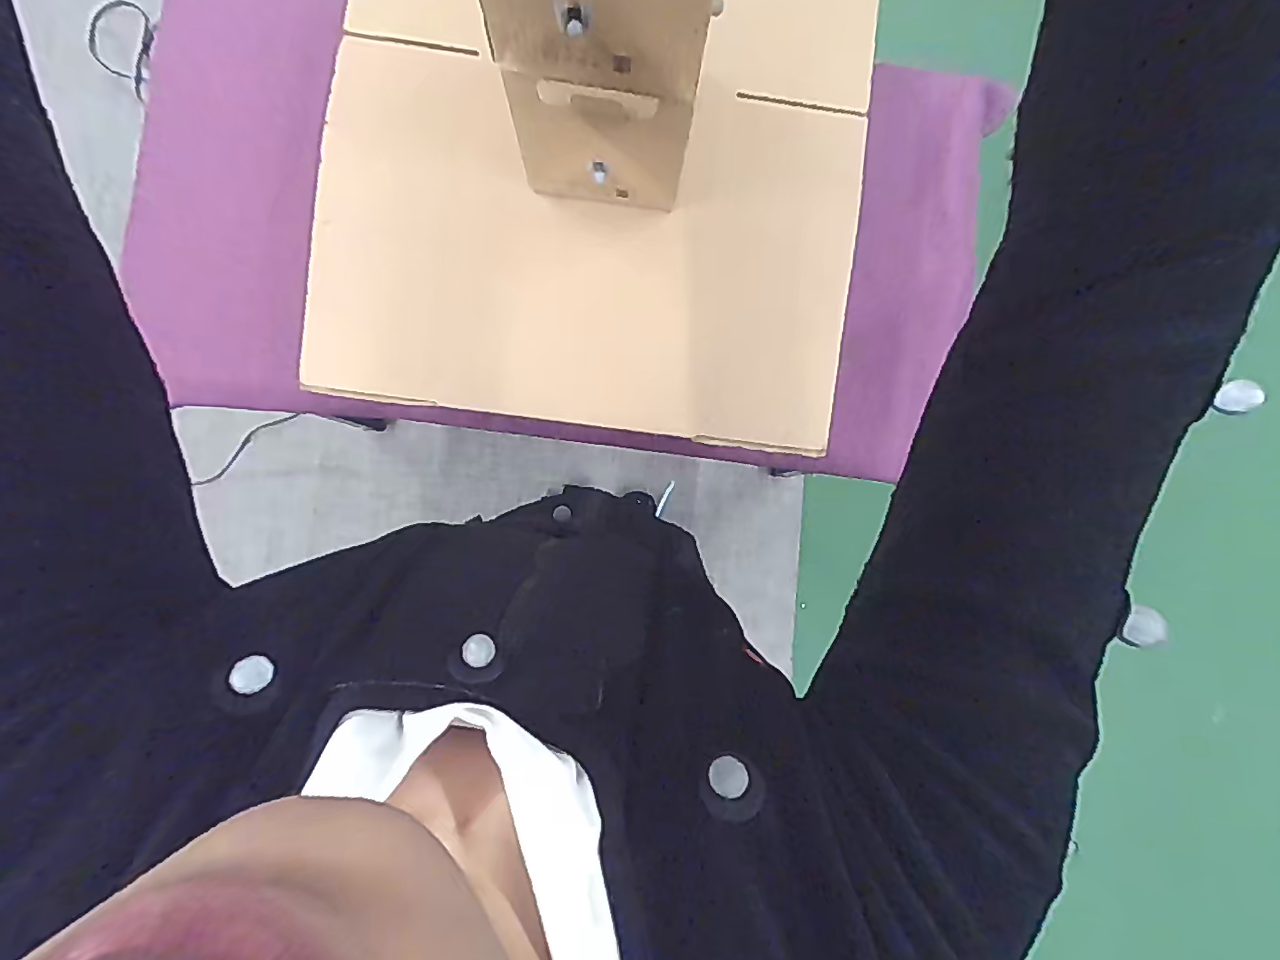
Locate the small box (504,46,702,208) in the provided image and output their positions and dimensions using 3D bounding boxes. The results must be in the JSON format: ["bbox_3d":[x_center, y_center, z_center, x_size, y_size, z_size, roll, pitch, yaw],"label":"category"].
[{"bbox_3d":[-0.027,-0.410,0.537,0.168,0.176,0.179,7,86,-2],"label":"small box"}]

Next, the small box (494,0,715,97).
[{"bbox_3d":[-0.019,-0.420,0.374,0.168,0.176,0.179,8,86,-3],"label":"small box"}]
